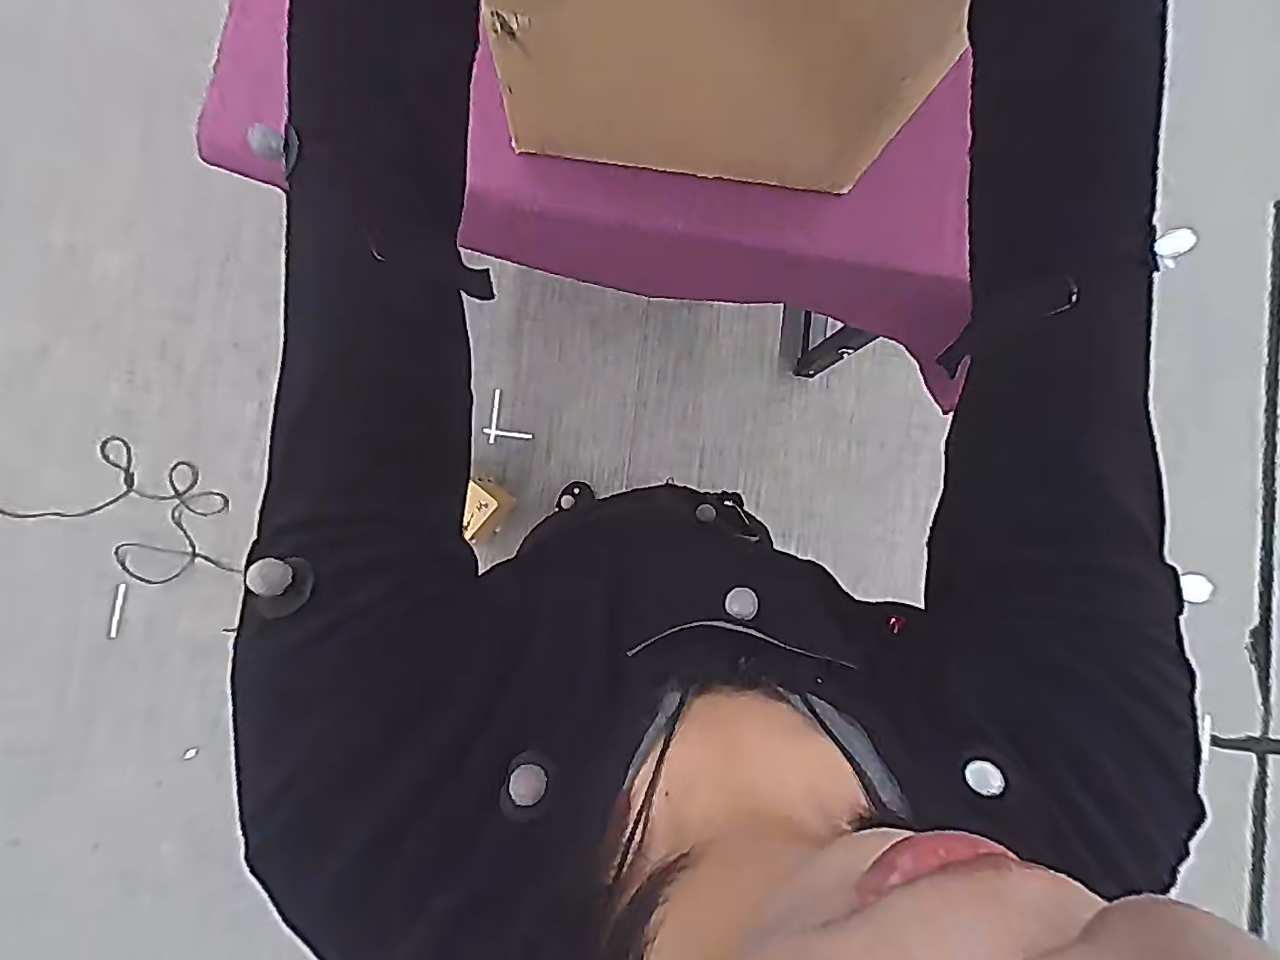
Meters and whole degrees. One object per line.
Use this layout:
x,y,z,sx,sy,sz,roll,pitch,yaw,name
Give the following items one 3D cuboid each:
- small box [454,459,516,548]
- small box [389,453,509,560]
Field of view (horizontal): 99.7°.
-0.445,0.067,1.400,0.179,0.176,0.168,38,84,-3,small box
-0.426,0.063,1.237,0.179,0.176,0.168,40,84,-2,small box
